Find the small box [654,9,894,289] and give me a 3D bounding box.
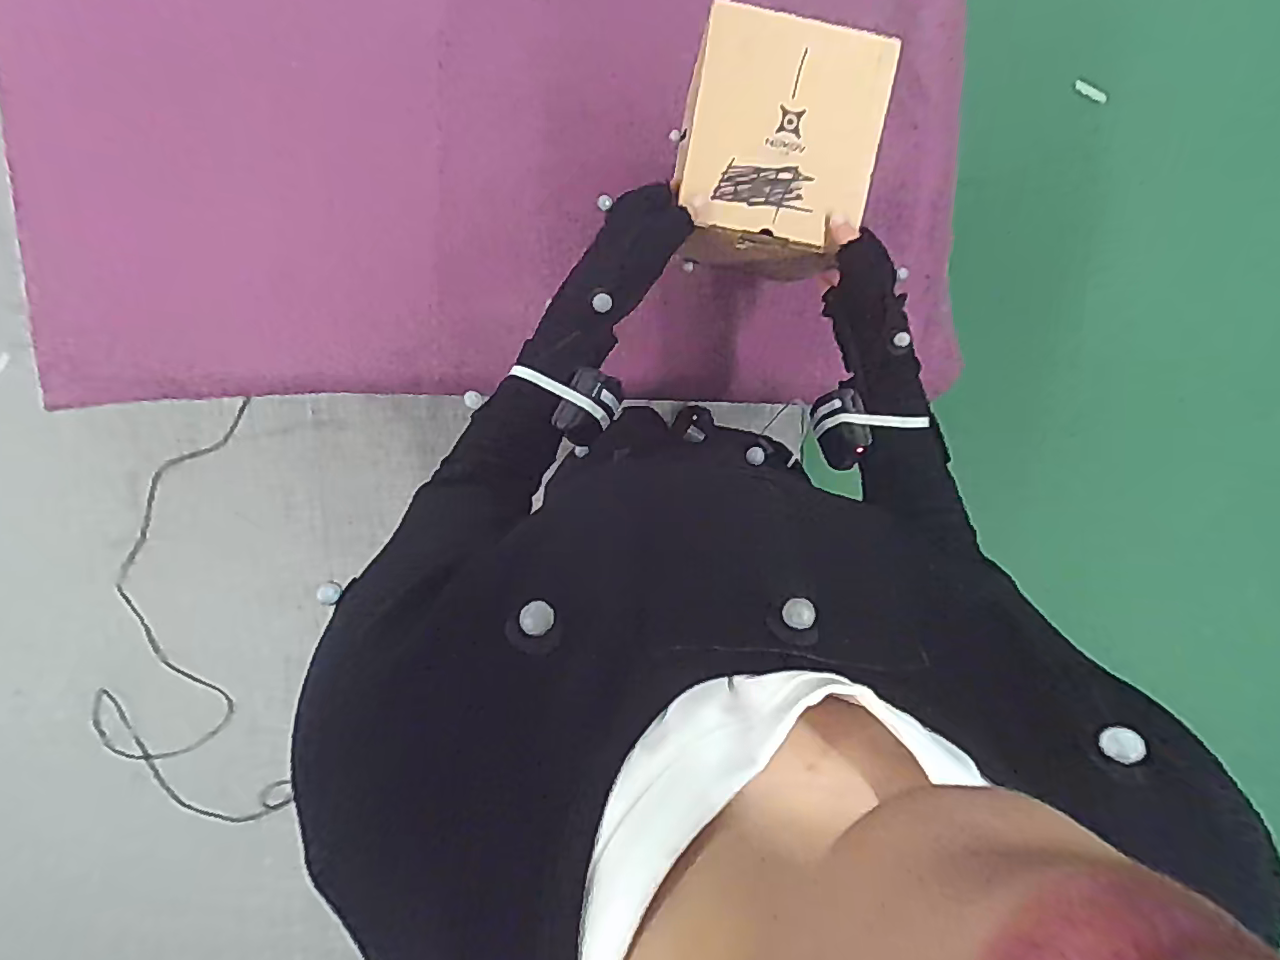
[{"bbox_3d":[0.115,-0.306,0.550,0.168,0.176,0.179,12,101,-8],"label":"small box"}]
